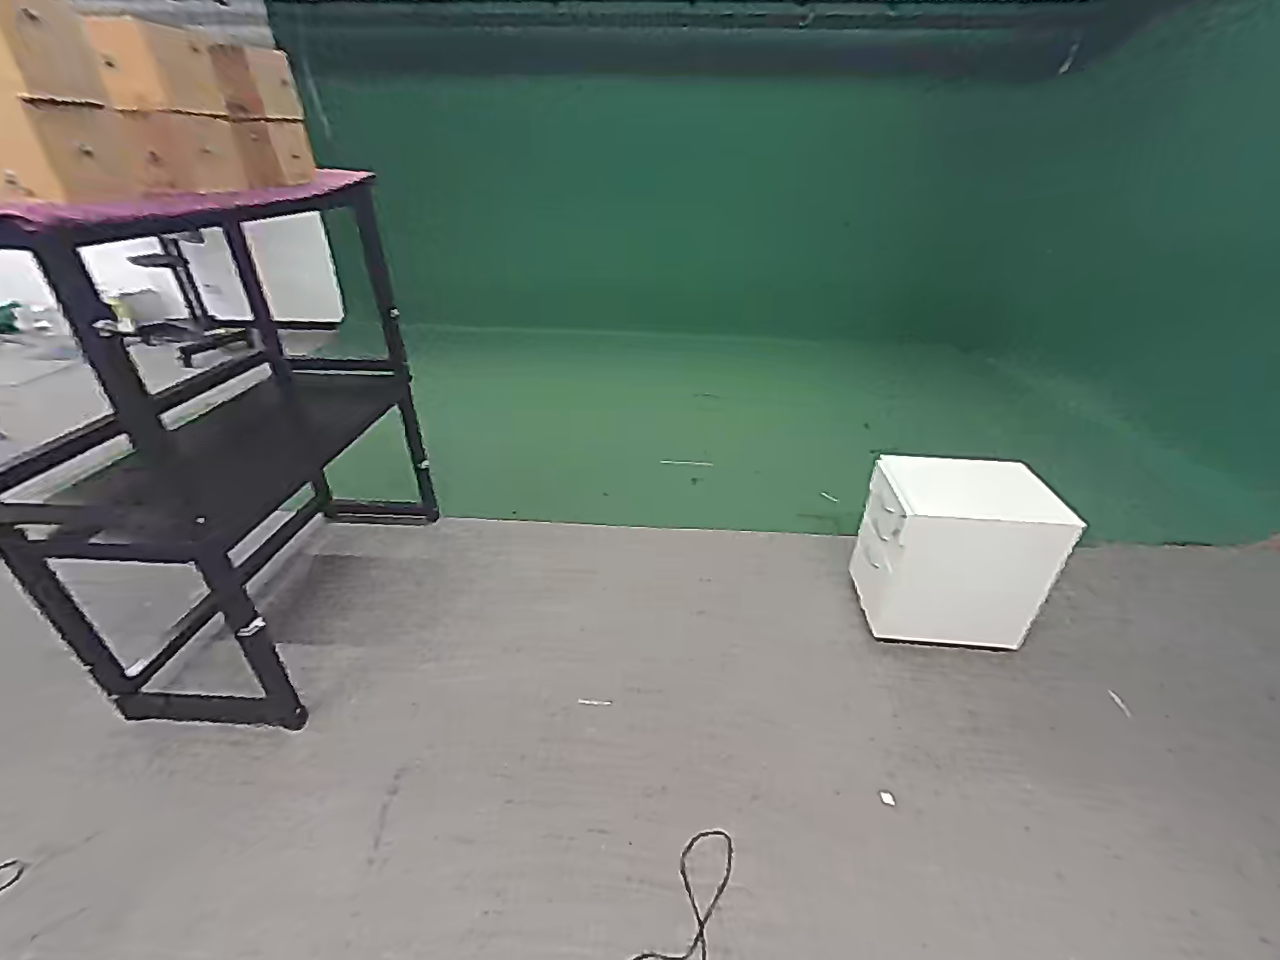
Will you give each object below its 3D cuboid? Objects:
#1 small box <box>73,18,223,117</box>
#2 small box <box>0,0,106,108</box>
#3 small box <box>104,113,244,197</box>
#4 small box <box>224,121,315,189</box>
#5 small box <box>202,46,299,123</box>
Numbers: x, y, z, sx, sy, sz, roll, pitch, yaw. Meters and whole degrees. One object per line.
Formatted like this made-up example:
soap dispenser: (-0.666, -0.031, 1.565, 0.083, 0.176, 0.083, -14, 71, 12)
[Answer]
small box: (-1.124, -0.941, 1.252, 0.168, 0.176, 0.179, 4, 30, 6)
small box: (-1.122, -0.766, 0.955, 0.168, 0.176, 0.179, 1, 30, -1)
small box: (-1.130, -0.800, 1.333, 0.168, 0.176, 0.179, 3, 32, 3)
small box: (-1.120, -0.978, 1.624, 0.179, 0.176, 0.168, 2, 32, 5)
small box: (-1.108, -1.113, 1.533, 0.168, 0.176, 0.179, 0, 34, 4)
